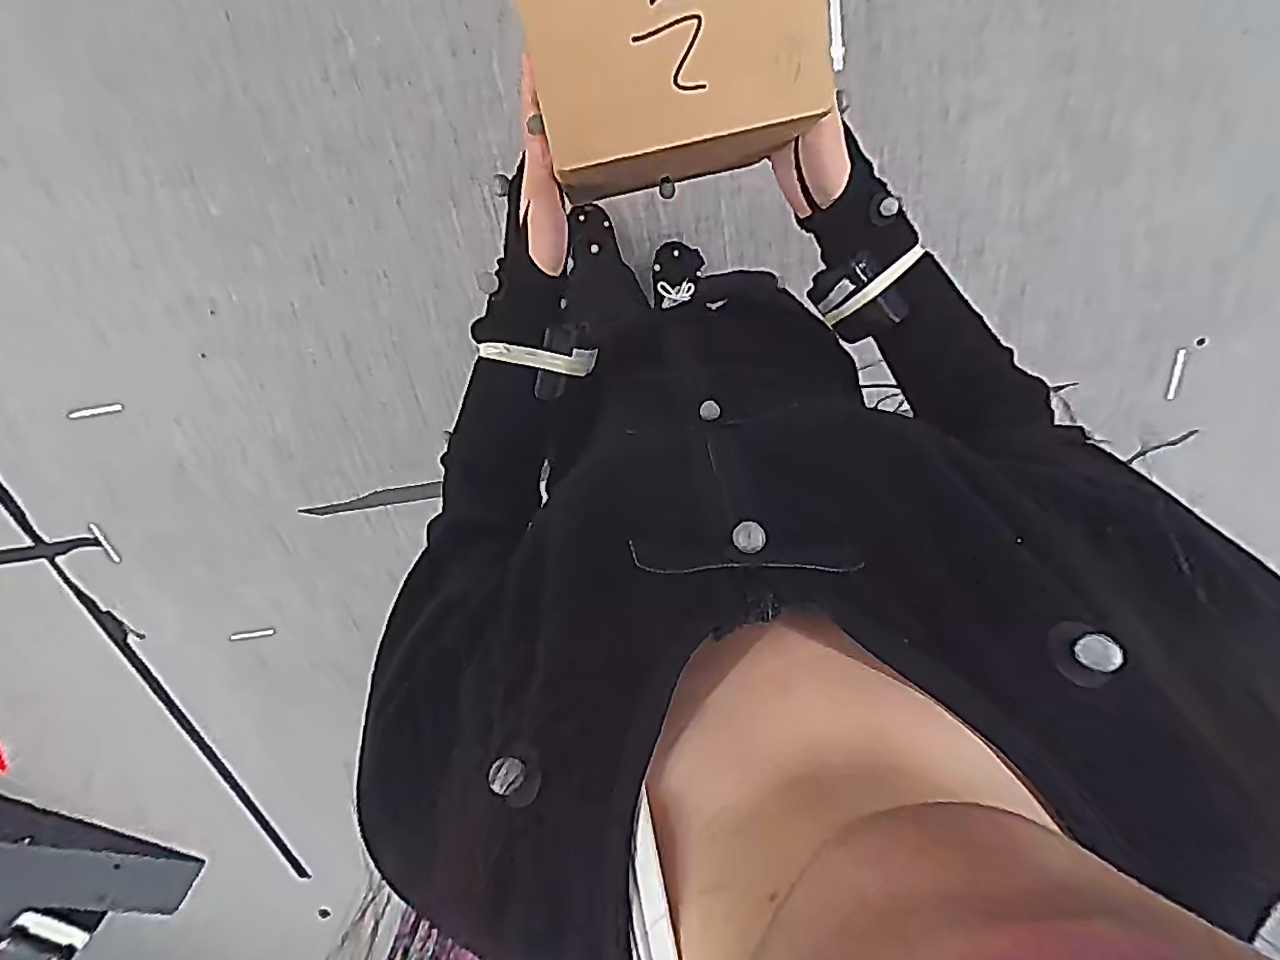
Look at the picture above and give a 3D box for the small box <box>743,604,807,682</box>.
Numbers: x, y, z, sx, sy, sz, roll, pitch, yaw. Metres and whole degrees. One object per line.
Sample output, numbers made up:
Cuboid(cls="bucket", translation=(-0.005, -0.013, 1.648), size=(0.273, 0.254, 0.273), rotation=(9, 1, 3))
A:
Cuboid(cls="small box", translation=(0.433, 0.519, 1.745), size=(0.168, 0.176, 0.179), rotation=(-9, 117, 3))
